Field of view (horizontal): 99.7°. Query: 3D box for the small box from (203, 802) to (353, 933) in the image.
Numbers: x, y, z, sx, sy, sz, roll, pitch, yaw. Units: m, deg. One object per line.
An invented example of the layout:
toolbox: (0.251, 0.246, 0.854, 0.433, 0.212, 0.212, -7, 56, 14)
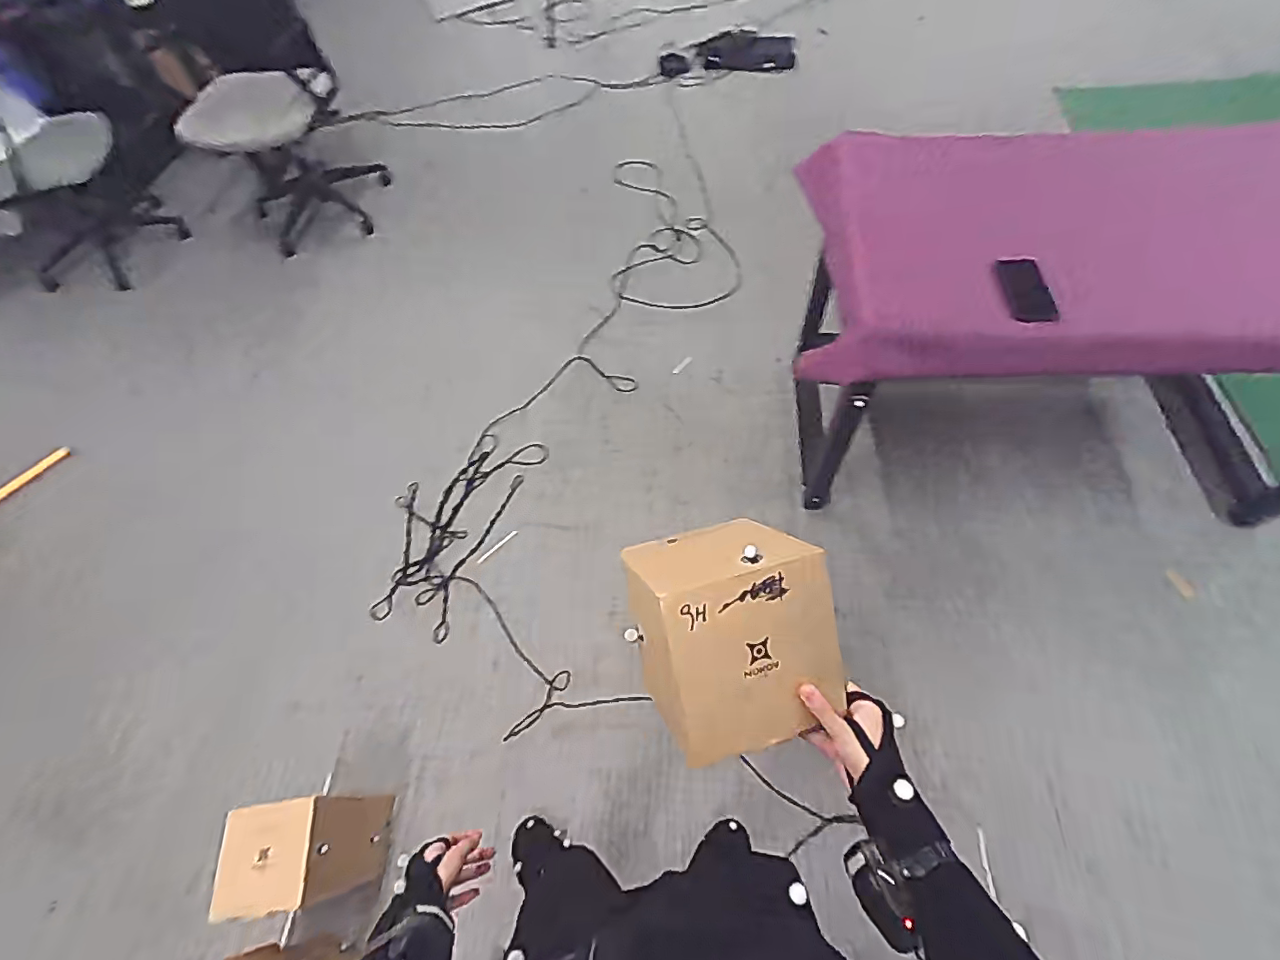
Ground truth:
small box: (-0.683, 0.738, 1.046, 0.168, 0.176, 0.179, -9, 60, -1)

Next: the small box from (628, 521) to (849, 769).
small box: (0.093, 0.156, 0.570, 0.168, 0.176, 0.179, -12, 99, -13)

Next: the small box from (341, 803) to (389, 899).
small box: (-0.682, 0.814, 1.191, 0.179, 0.176, 0.168, -6, 59, 3)
